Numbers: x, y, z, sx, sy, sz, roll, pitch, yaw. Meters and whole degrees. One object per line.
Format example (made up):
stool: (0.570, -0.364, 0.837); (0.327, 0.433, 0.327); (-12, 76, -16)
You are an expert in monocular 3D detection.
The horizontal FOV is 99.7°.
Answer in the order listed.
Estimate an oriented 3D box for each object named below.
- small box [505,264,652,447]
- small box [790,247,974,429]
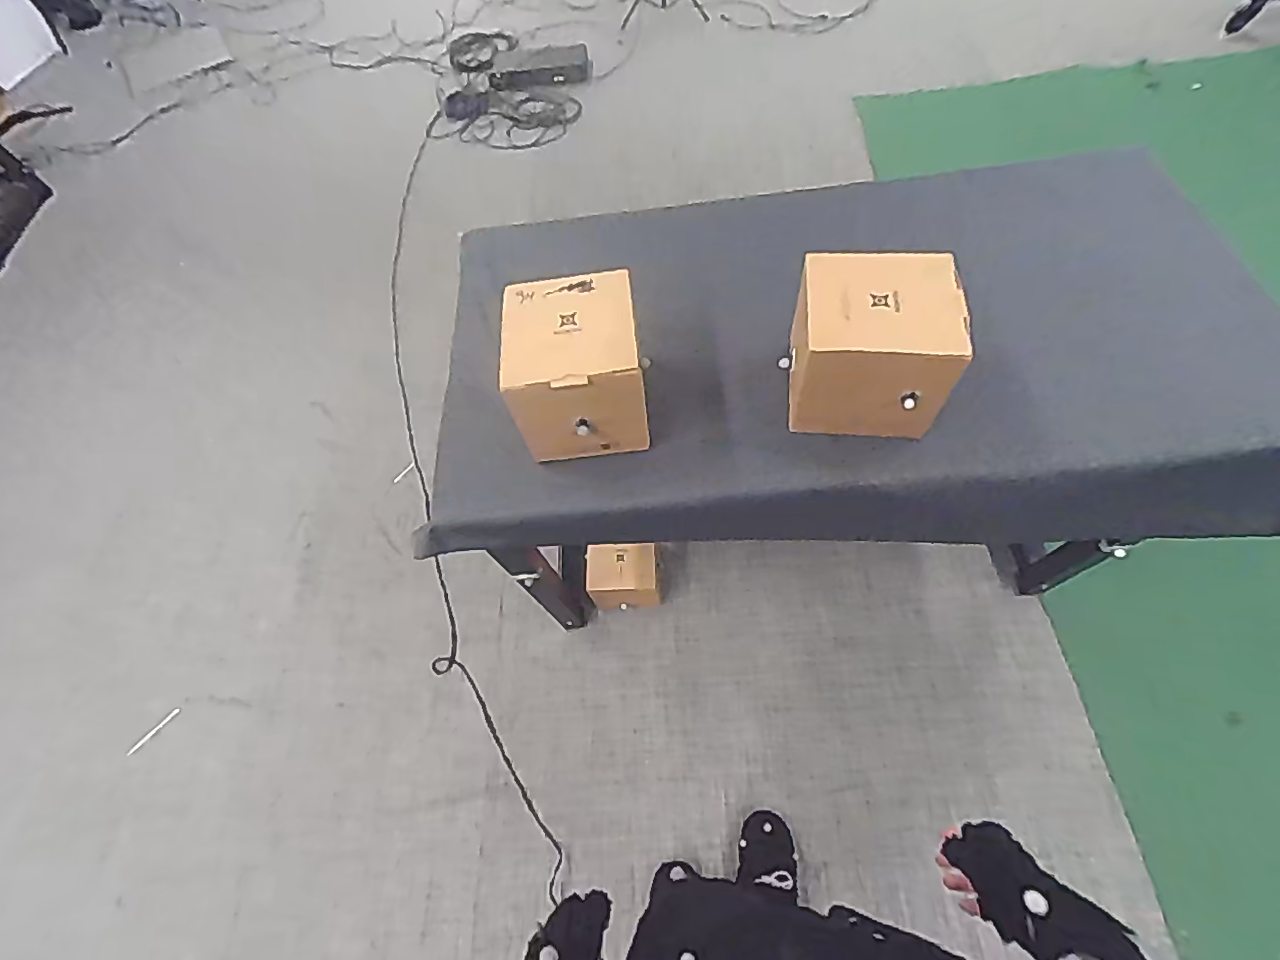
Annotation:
small box: (-0.076, -0.157, 0.734); (0.168, 0.176, 0.179); (-7, 61, 2)
small box: (0.297, -0.179, 0.707); (0.179, 0.176, 0.168); (3, 61, 9)
